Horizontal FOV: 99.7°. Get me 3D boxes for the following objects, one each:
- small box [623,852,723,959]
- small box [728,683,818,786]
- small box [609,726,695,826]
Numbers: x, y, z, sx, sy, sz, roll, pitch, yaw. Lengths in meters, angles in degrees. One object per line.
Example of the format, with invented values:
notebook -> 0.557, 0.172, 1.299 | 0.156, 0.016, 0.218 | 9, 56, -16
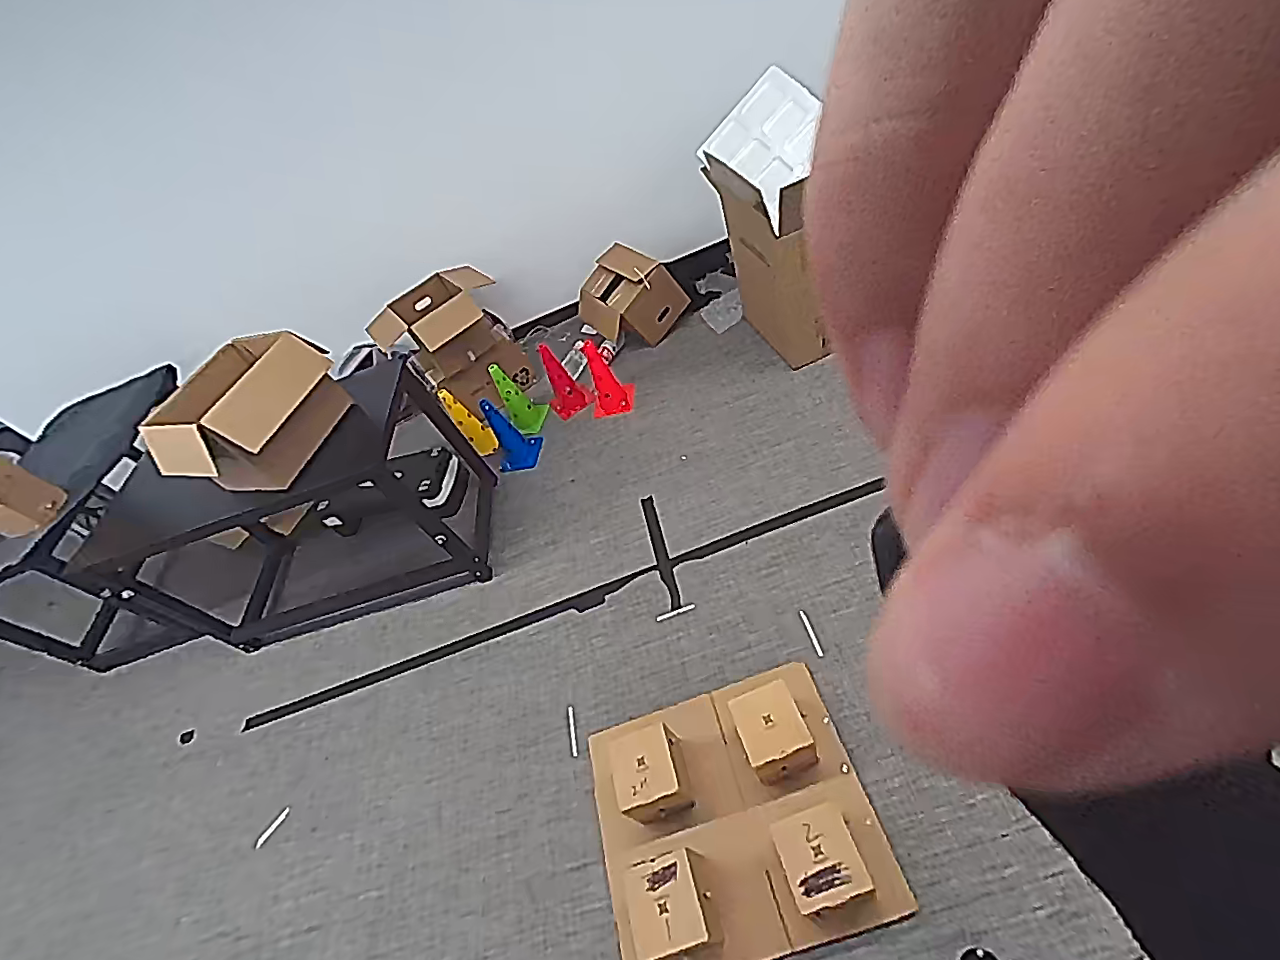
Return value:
small box -> 0.078, 1.001, 1.256 | 0.168, 0.176, 0.179 | -23, 47, 4
small box -> 0.352, 0.675, 1.428 | 0.168, 0.176, 0.179 | -25, 46, 2
small box -> 0.032, 0.797, 1.451 | 0.168, 0.176, 0.179 | -23, 46, 4
